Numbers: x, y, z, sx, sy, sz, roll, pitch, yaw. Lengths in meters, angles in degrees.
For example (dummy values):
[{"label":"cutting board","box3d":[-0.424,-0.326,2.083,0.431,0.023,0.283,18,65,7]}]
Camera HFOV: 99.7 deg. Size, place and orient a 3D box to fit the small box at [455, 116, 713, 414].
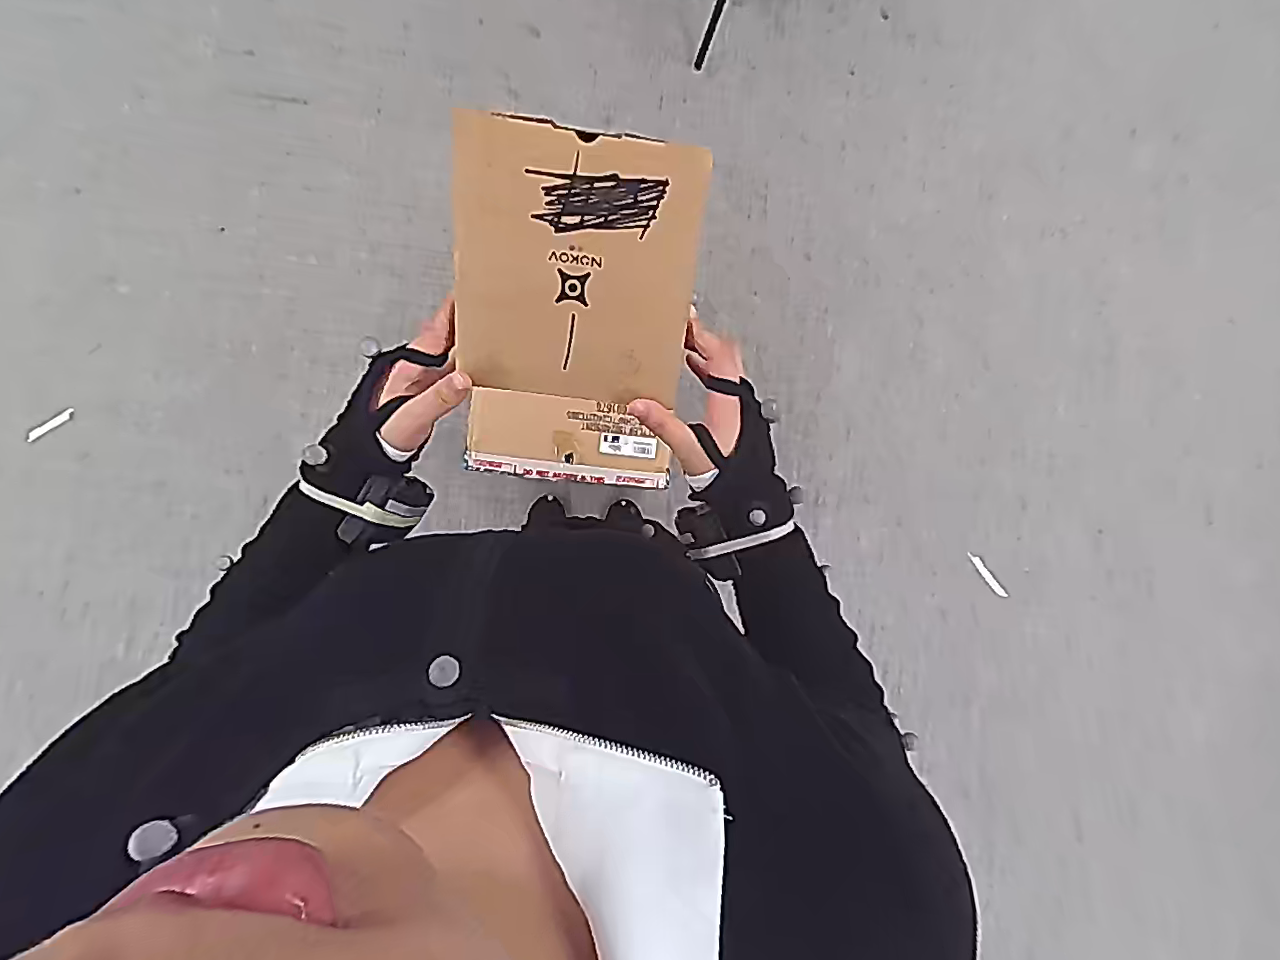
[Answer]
[{"label":"small box","box3d":[-0.047,-0.168,0.448,0.168,0.176,0.179,6,111,-4]}]
